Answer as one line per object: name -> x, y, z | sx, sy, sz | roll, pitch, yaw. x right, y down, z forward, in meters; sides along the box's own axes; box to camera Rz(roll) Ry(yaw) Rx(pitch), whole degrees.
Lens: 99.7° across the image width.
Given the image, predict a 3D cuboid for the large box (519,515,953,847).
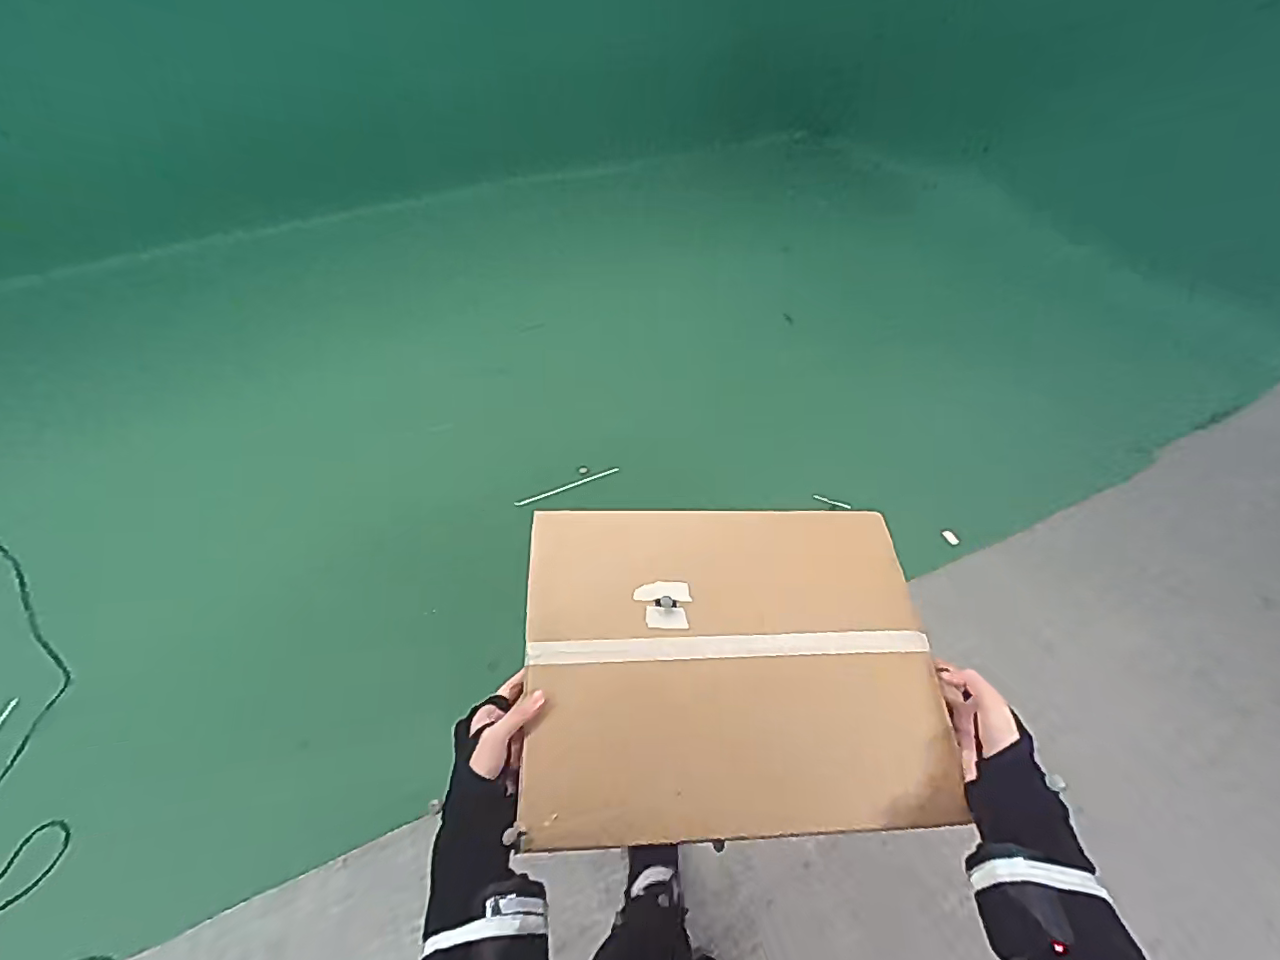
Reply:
large box -> 0.075, 0.252, 0.680 | 0.408, 0.320, 0.320 | 0, 58, -5
